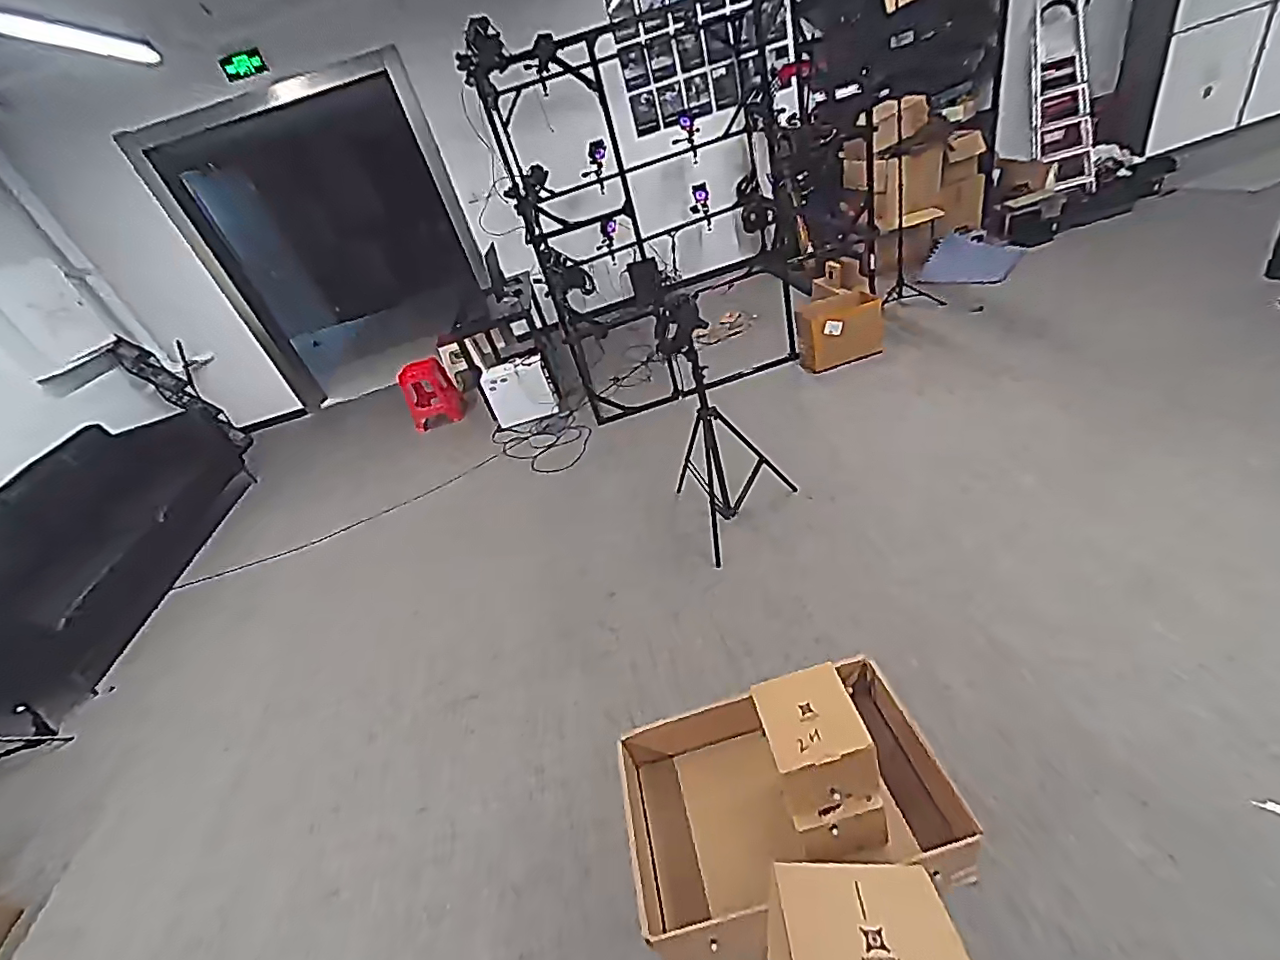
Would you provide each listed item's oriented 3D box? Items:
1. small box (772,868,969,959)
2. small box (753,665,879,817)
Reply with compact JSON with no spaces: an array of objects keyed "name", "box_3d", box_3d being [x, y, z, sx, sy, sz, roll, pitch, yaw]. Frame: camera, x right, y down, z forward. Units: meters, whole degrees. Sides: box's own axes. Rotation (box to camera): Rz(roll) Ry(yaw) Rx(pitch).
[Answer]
[{"name":"small box","box_3d":[0.225,0.522,0.522,0.168,0.176,0.179,-1,14,3]},{"name":"small box","box_3d":[0.326,0.486,1.009,0.168,0.176,0.179,-19,34,4]}]
